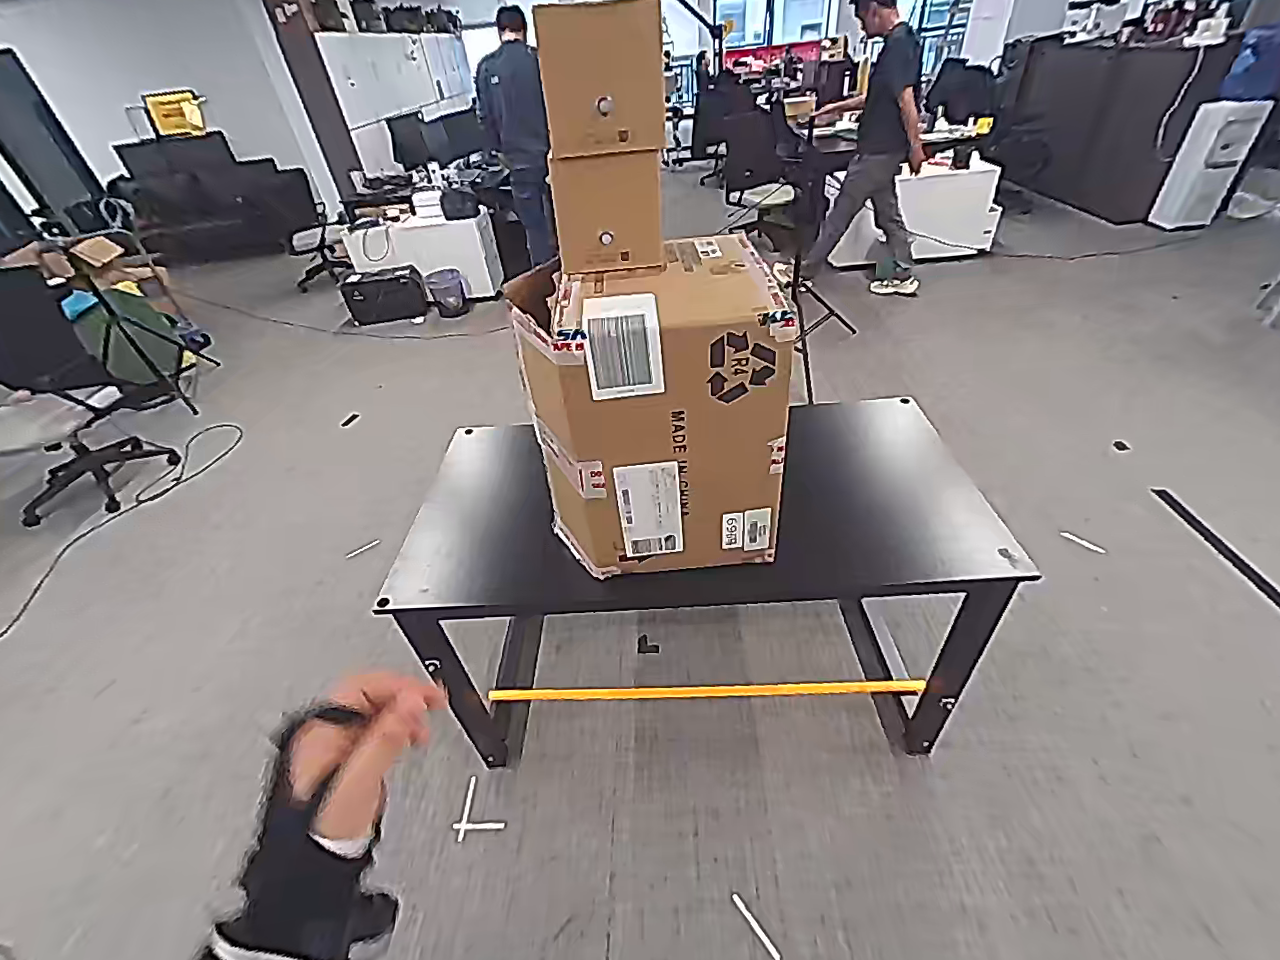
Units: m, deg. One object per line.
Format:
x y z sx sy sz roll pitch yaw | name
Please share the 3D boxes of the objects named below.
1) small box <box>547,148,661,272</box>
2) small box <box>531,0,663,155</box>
-0.056 -0.457 0.899 0.168 0.176 0.179 -6 37 -1 | small box
-0.060 -0.584 0.793 0.168 0.176 0.179 -7 37 -3 | small box
